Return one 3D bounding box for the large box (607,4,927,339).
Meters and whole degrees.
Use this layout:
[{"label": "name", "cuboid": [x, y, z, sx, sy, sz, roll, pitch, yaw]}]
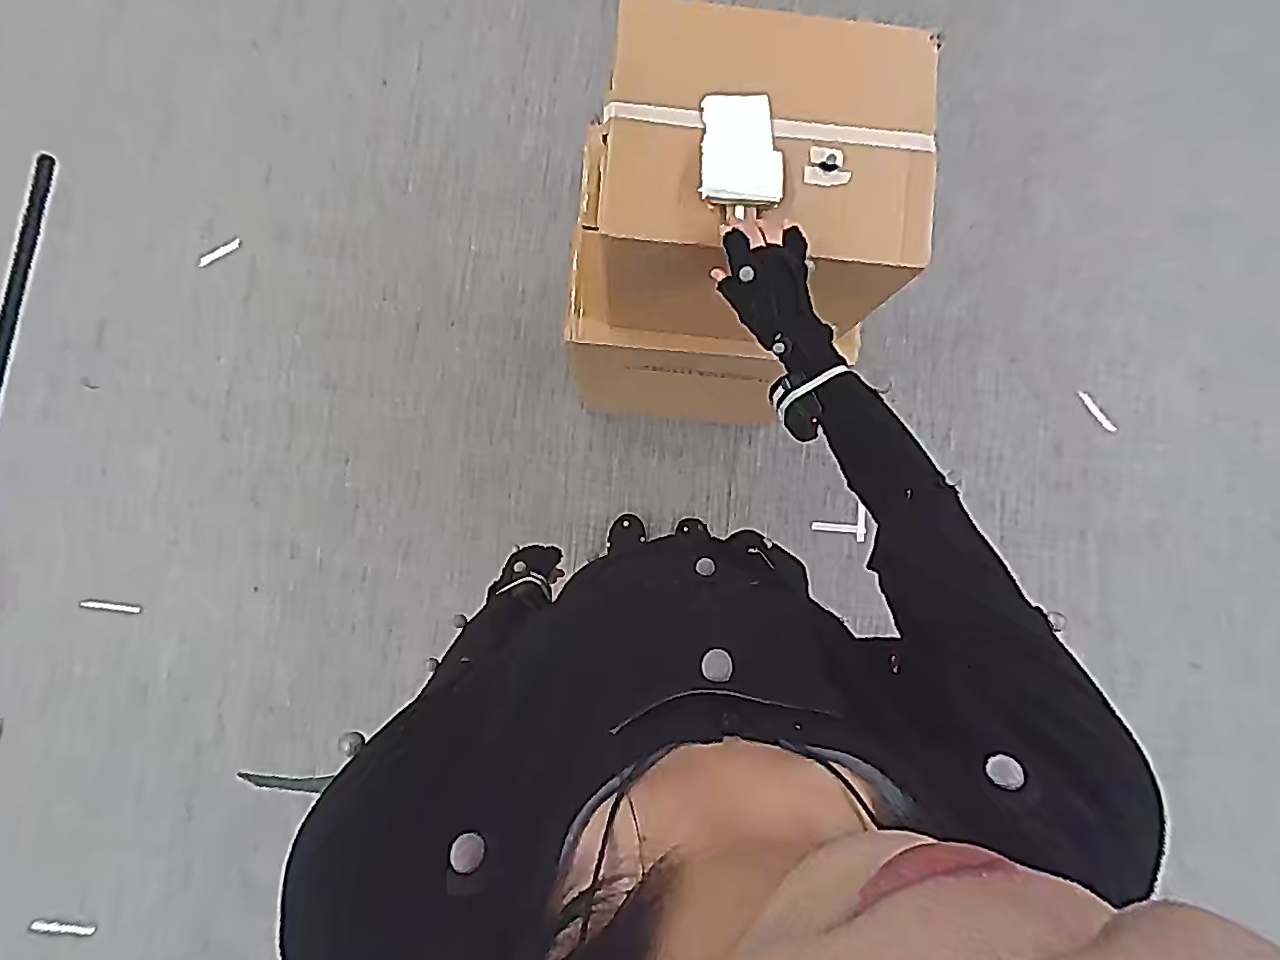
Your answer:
[{"label": "large box", "cuboid": [0.156, -0.427, 0.829, 0.408, 0.320, 0.320, 5, 86, -3]}]
